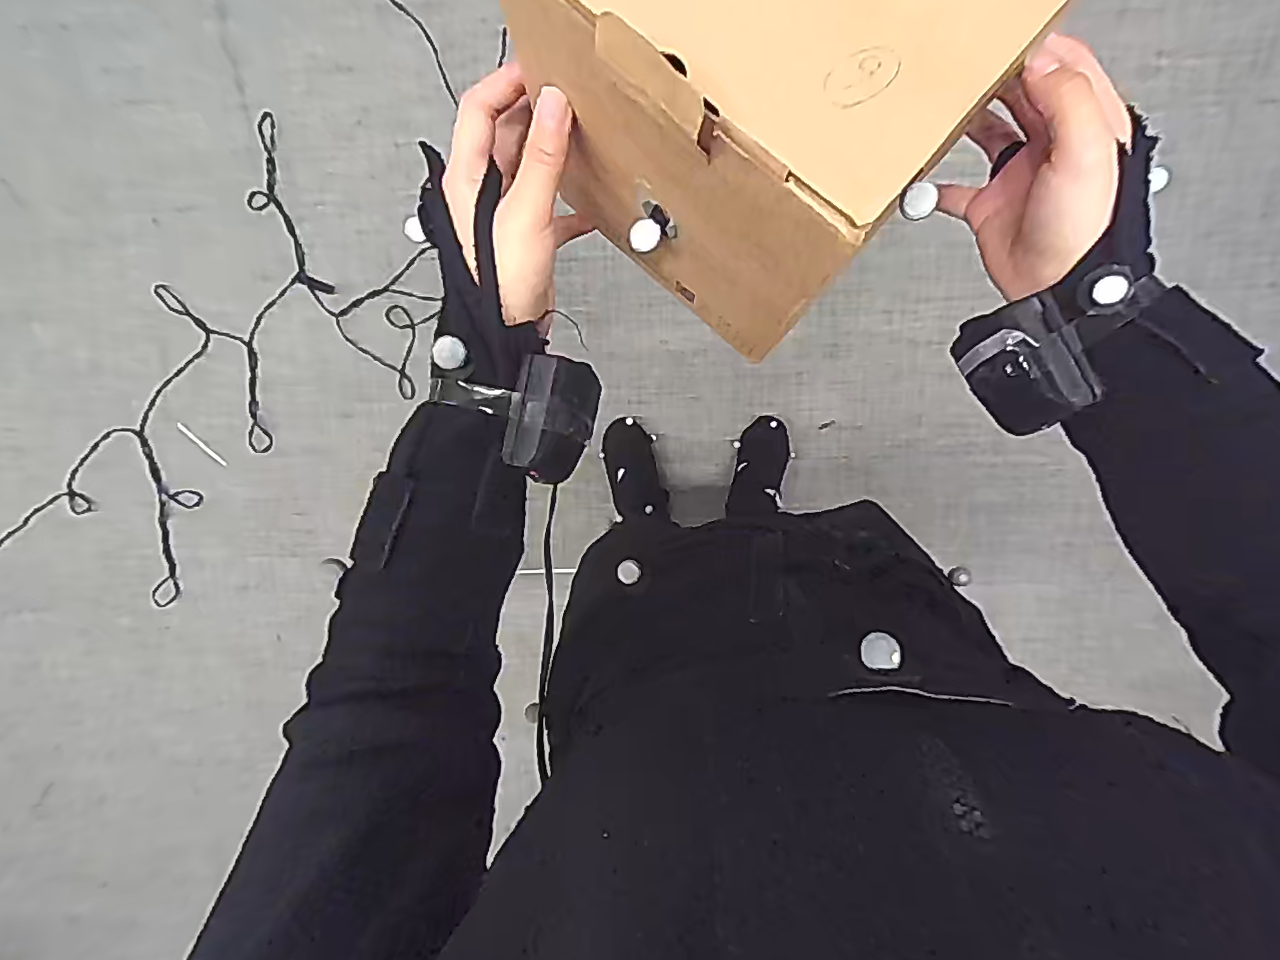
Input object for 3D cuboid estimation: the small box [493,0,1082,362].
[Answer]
[{"bbox_3d":[0.066,-0.184,0.266,0.168,0.176,0.179,41,90,2],"label":"small box"}]
